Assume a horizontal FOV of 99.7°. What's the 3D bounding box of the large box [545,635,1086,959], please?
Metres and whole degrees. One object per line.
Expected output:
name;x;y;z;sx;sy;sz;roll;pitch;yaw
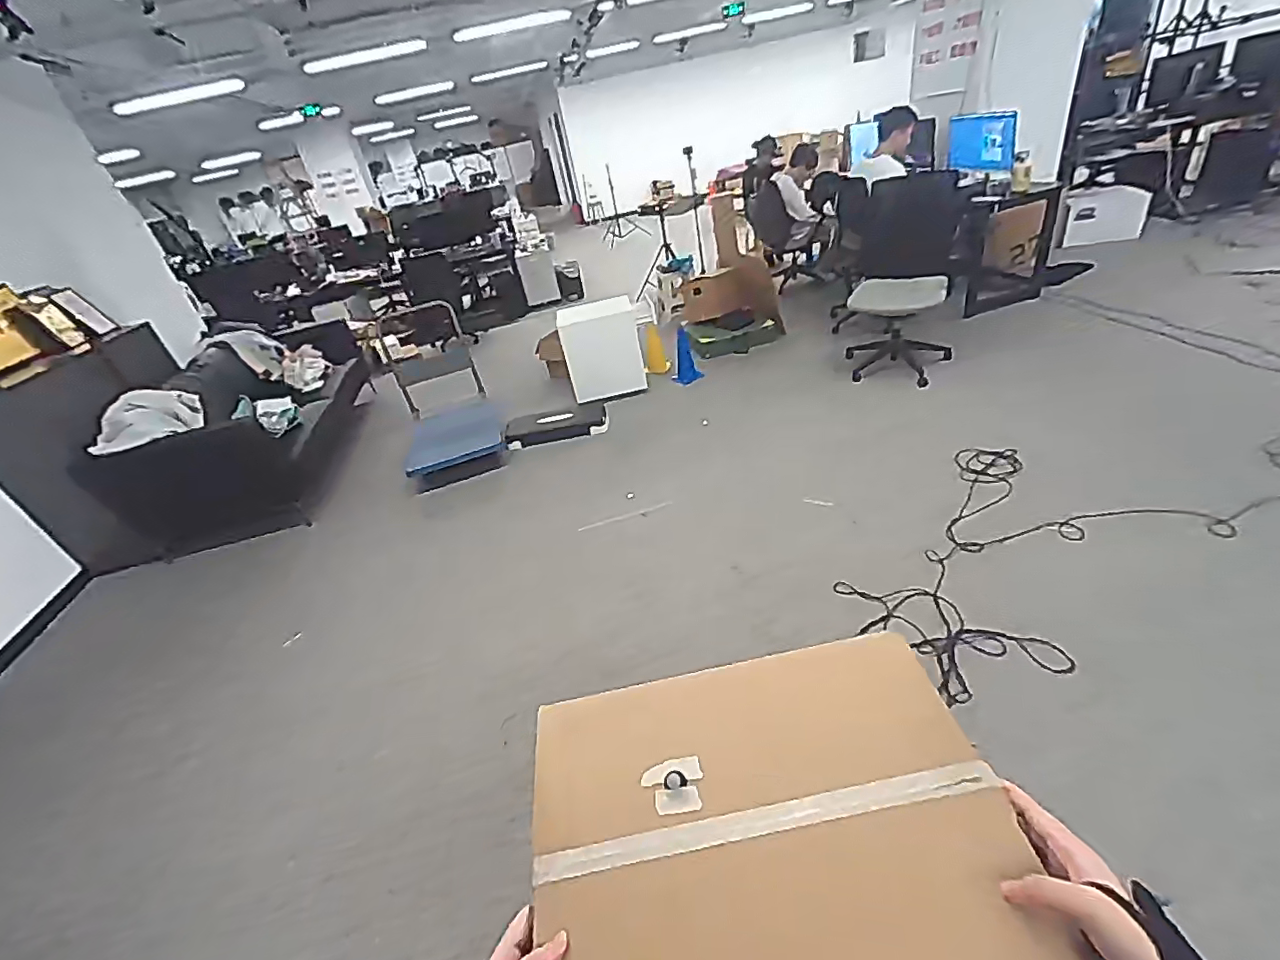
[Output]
large box;0.141;0.422;0.573;0.408;0.320;0.320;-14;38;3
